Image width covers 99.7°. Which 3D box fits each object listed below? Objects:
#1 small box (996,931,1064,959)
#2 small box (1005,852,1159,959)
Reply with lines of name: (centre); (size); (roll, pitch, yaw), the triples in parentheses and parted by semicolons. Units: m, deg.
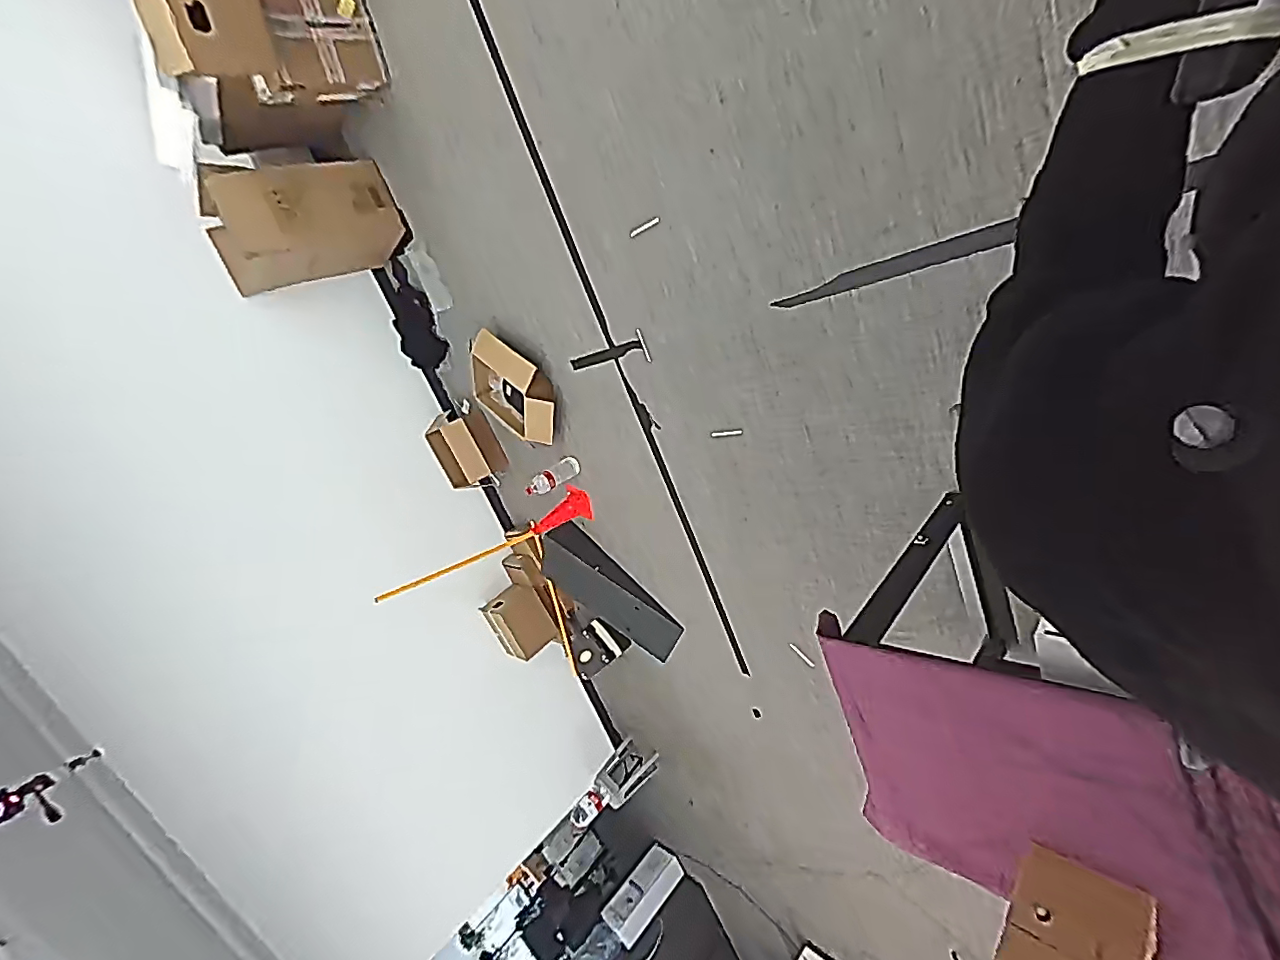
small box: (0.647, 0.865, 0.834); (0.179, 0.176, 0.168); (5, 120, 48)
small box: (0.758, 0.790, 0.927); (0.179, 0.176, 0.168); (3, 119, 49)
